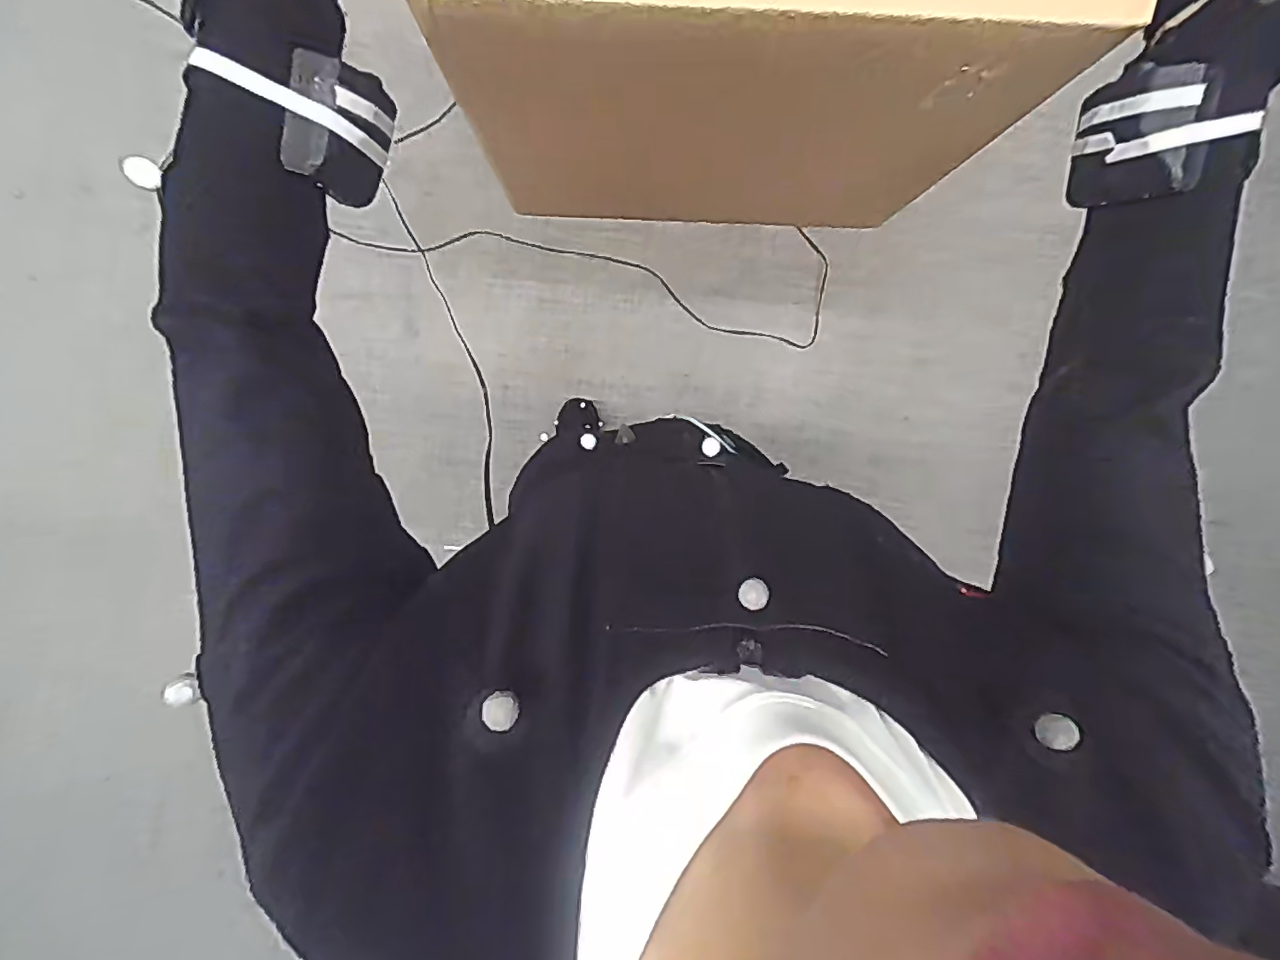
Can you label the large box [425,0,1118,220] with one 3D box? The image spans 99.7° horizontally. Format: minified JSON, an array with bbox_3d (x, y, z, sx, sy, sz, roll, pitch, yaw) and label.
[{"bbox_3d":[0.067,-0.425,0.434,0.408,0.320,0.320,0,96,-3],"label":"large box"}]
